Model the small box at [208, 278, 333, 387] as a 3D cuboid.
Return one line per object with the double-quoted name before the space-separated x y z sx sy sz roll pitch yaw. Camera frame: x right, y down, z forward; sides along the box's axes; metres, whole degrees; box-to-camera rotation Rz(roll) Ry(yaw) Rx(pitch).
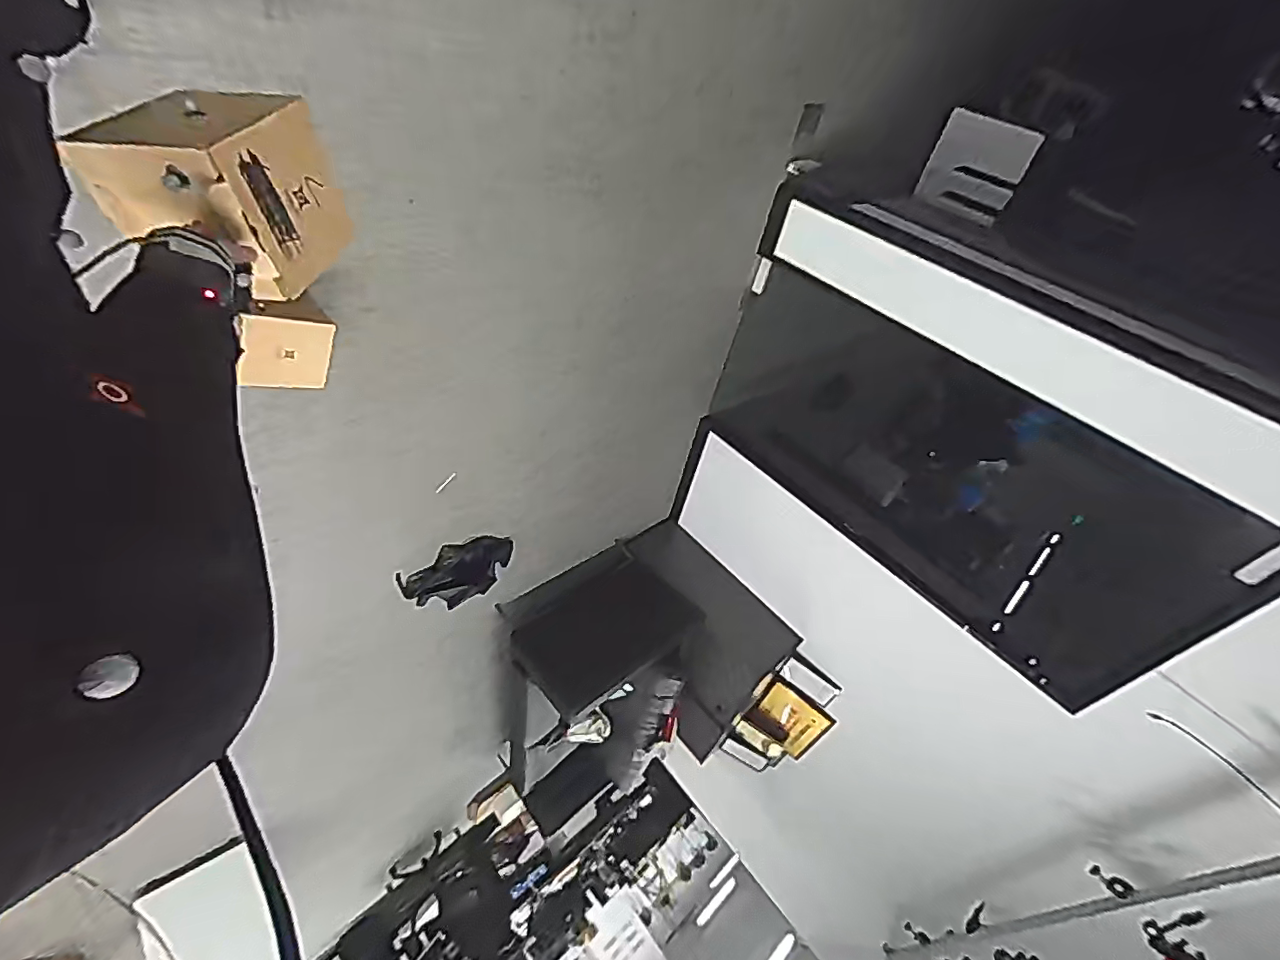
"small box" -0.812 -0.321 1.188 0.179 0.176 0.168 -9 135 -50
